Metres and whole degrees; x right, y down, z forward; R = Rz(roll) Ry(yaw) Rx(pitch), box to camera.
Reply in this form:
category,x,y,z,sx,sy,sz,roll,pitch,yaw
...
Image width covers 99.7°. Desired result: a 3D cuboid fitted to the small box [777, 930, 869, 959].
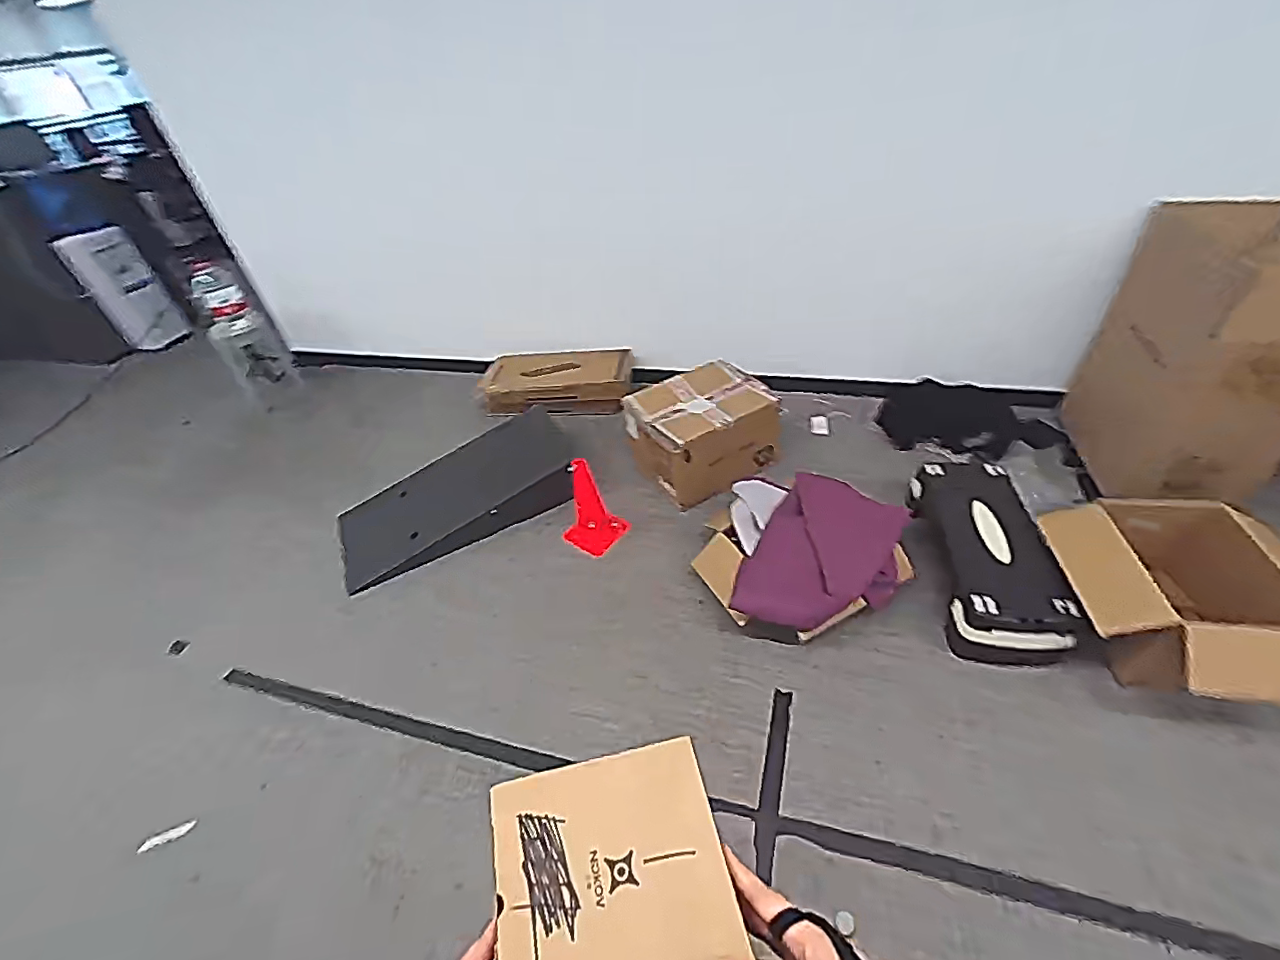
category,x,y,z,sx,sy,sz,roll,pitch,yaw
small box,0.302,0.882,0.879,0.168,0.176,0.179,7,45,18

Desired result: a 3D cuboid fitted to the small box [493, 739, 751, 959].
category,x,y,z,sx,sy,sz,roll,pitch,yaw
small box,-0.020,0.357,0.466,0.179,0.176,0.168,-10,44,-8
